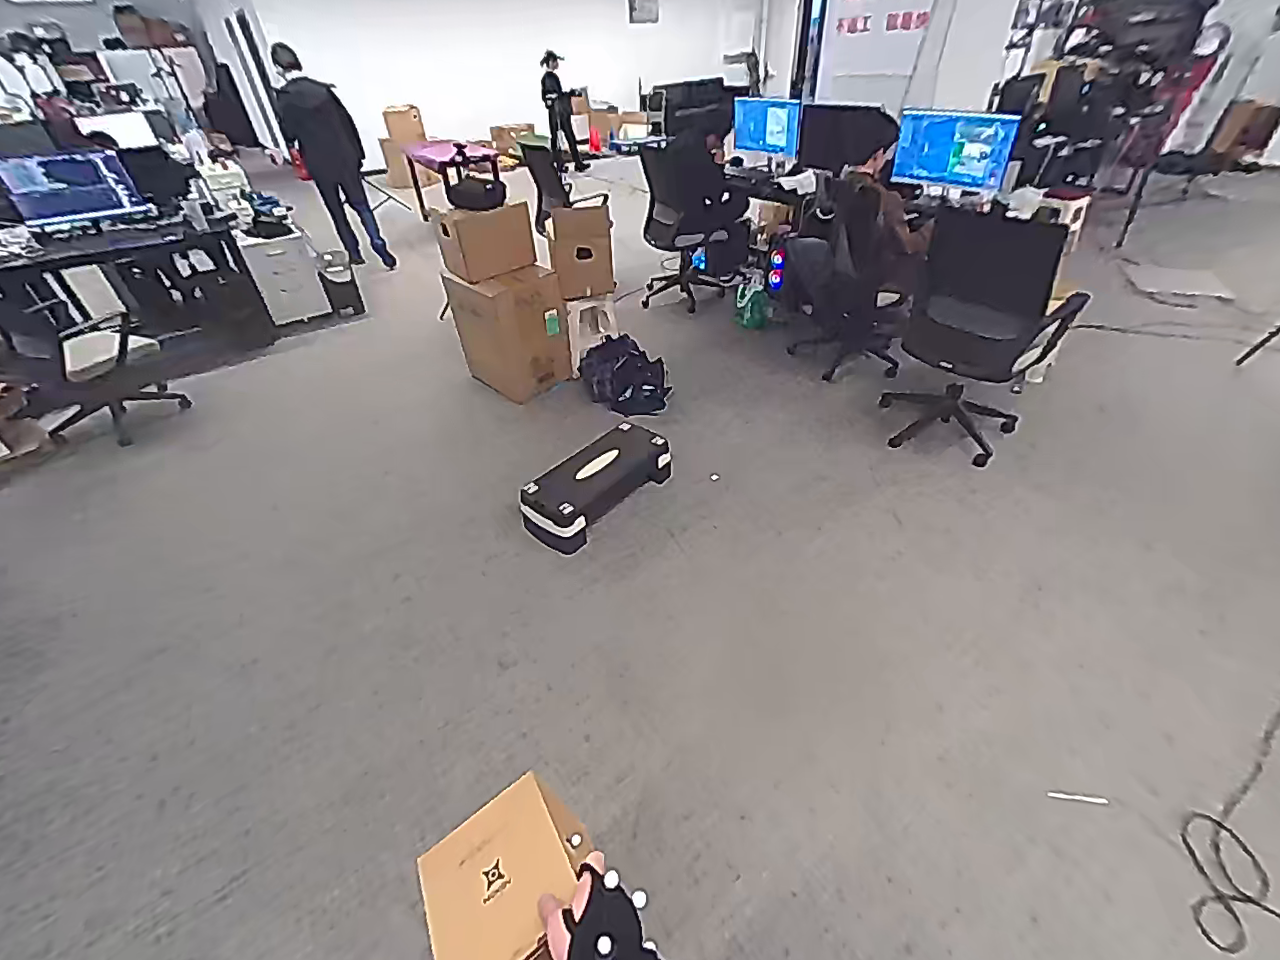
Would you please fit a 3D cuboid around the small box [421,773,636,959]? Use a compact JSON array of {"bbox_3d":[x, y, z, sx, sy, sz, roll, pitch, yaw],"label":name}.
[{"bbox_3d":[-0.130,0.507,0.648,0.168,0.176,0.179,-35,34,-15],"label":"small box"}]
